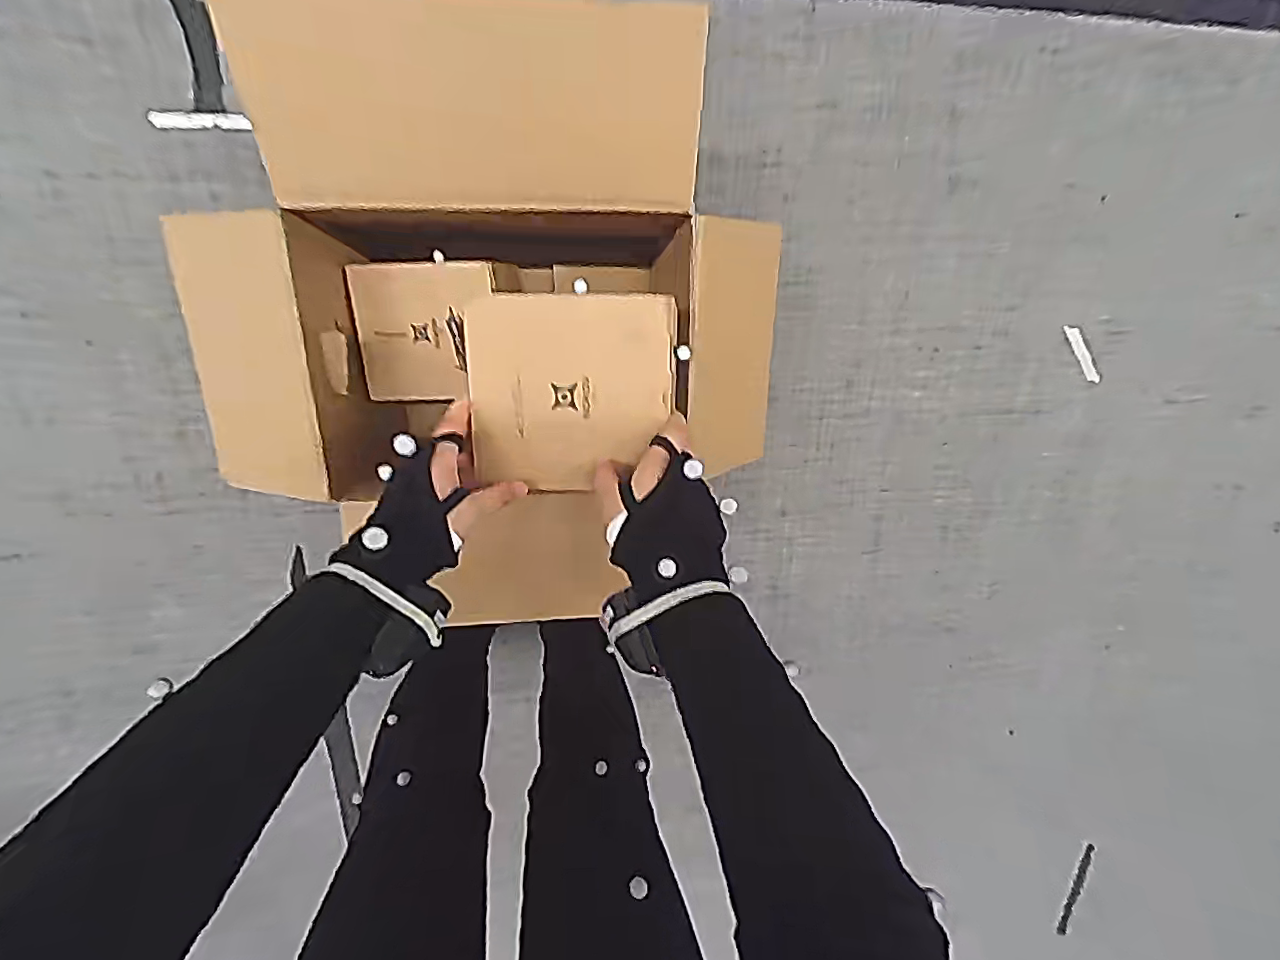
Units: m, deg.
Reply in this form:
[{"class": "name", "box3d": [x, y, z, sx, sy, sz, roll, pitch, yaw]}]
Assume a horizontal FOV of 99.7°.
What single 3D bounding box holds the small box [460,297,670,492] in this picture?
[{"class": "small box", "box3d": [-0.059, -0.090, 0.539, 0.179, 0.176, 0.168, 1, 104, 4]}]
